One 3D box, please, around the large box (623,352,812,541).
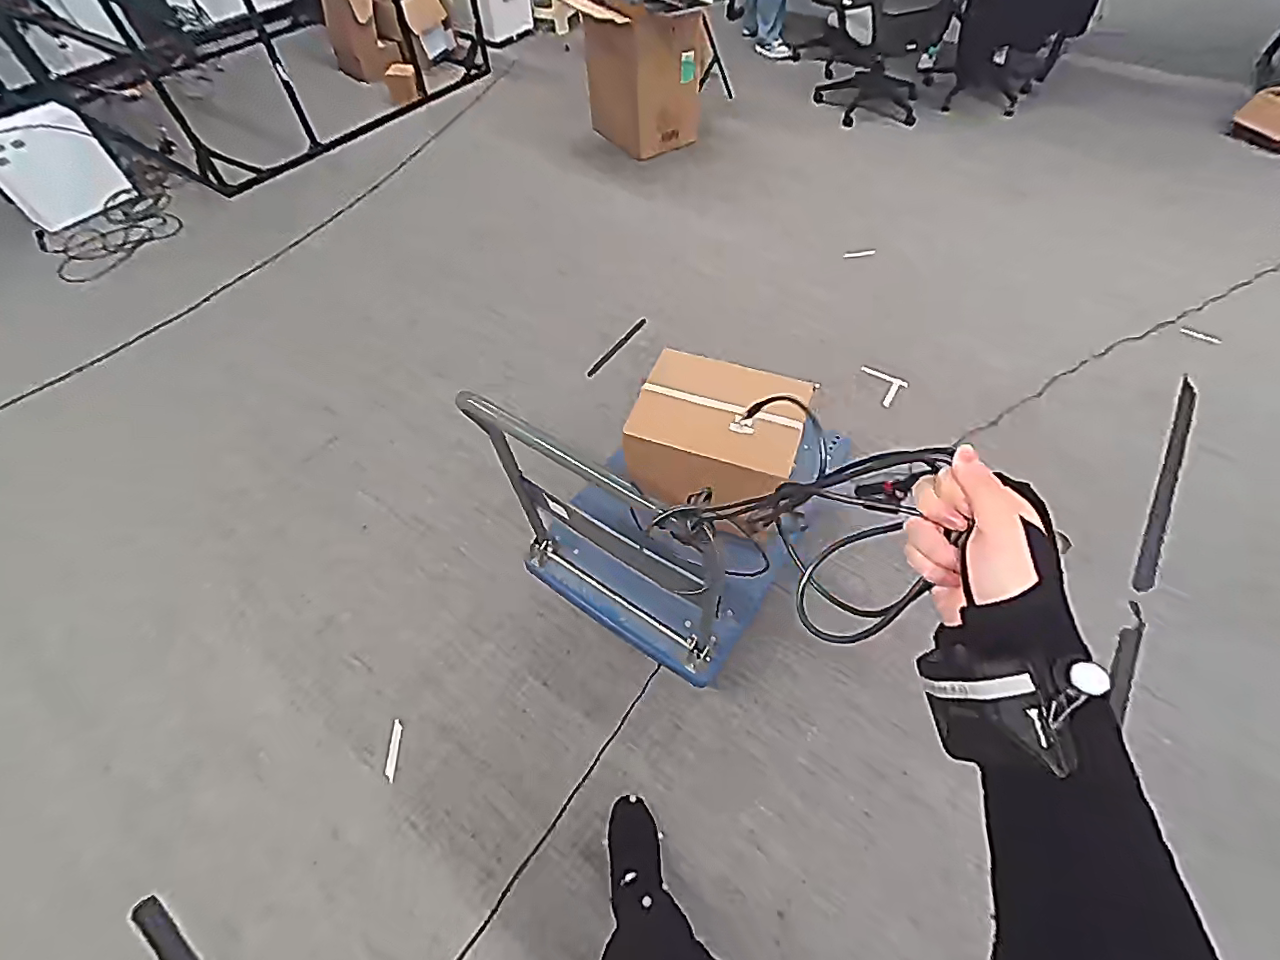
[{"bbox_3d":[0.196,-0.087,1.440,0.408,0.320,0.320,17,58,12],"label":"large box"}]
